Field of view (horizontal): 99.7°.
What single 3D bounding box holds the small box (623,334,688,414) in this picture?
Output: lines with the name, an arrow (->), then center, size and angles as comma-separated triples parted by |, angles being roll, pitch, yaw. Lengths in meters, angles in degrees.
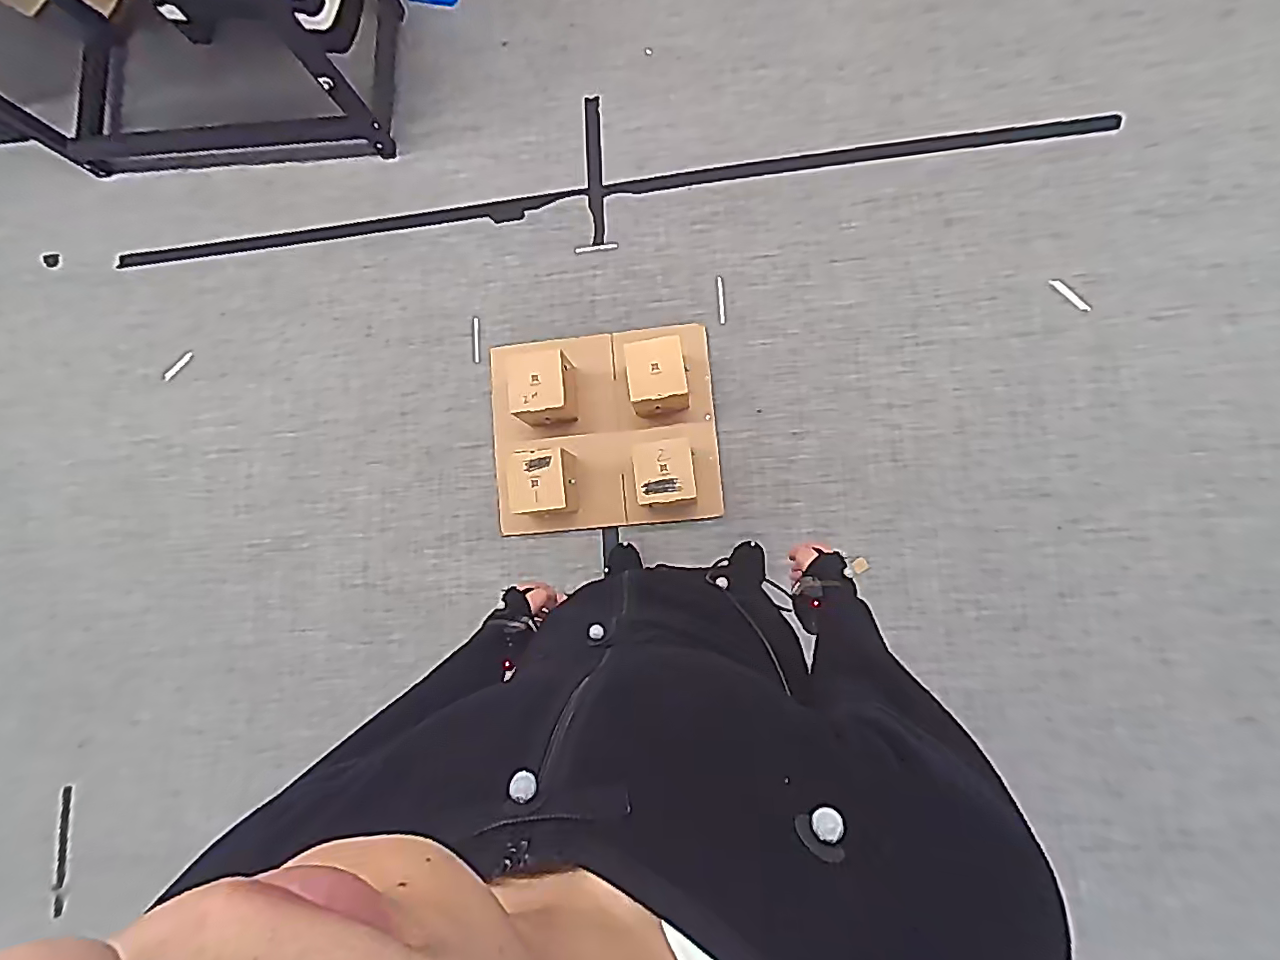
small box -> 0.049, -0.308, 1.599 | 0.168, 0.176, 0.179 | -9, 84, 5

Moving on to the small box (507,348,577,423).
small box -> -0.292, -0.279, 1.627 | 0.168, 0.176, 0.179 | -6, 84, 7

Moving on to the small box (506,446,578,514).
small box -> -0.287, 0.005, 1.600 | 0.168, 0.176, 0.179 | -7, 85, 6
